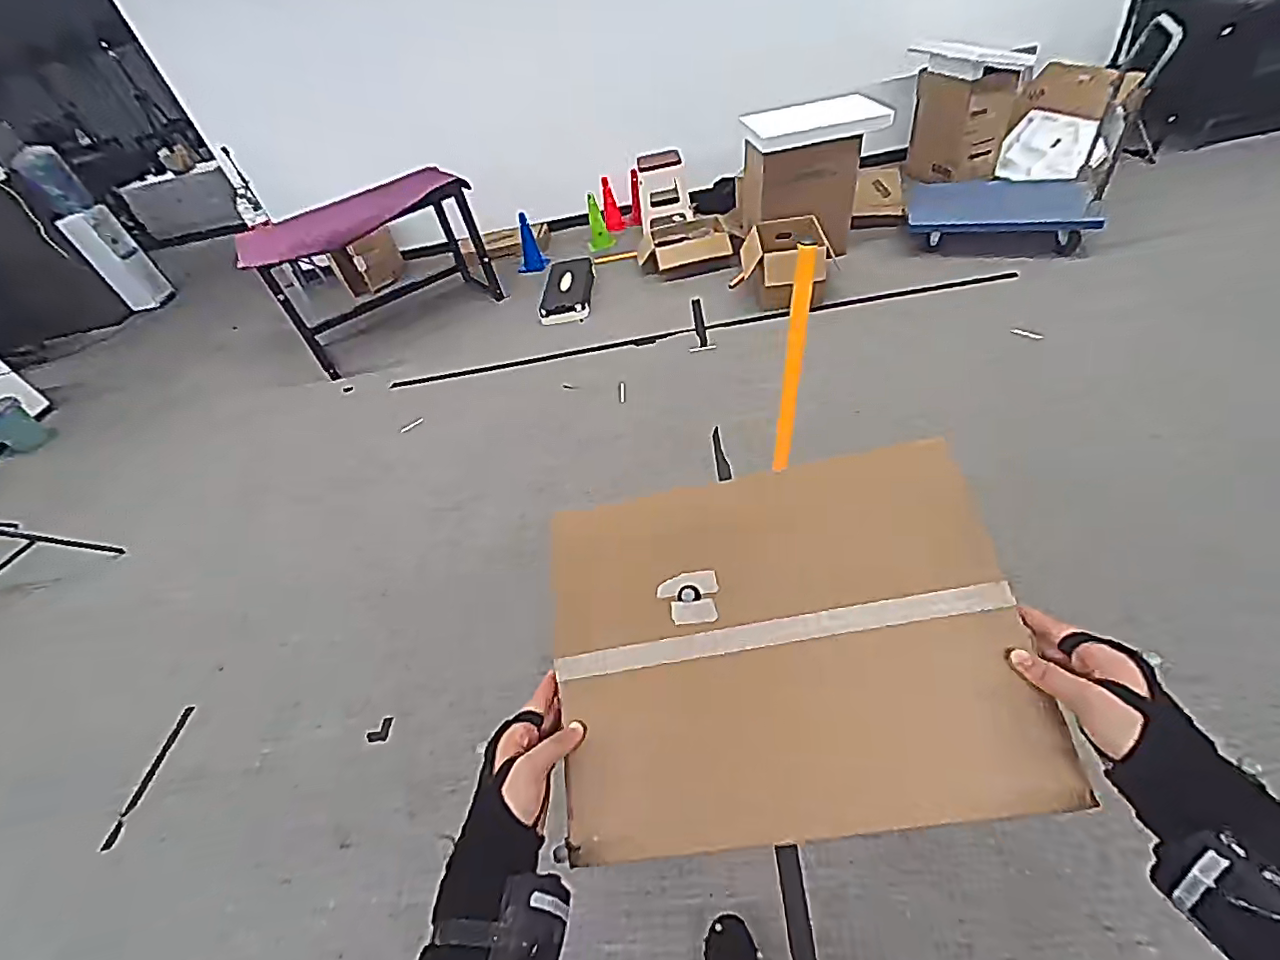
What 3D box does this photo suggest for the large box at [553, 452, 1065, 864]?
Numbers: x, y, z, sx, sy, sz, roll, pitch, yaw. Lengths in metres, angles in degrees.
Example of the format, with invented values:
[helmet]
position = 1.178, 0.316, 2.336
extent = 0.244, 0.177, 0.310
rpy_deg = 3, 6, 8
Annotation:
[large box]
position = 0.150, 0.209, 0.637
extent = 0.408, 0.320, 0.320
rpy_deg = -13, 62, 7
